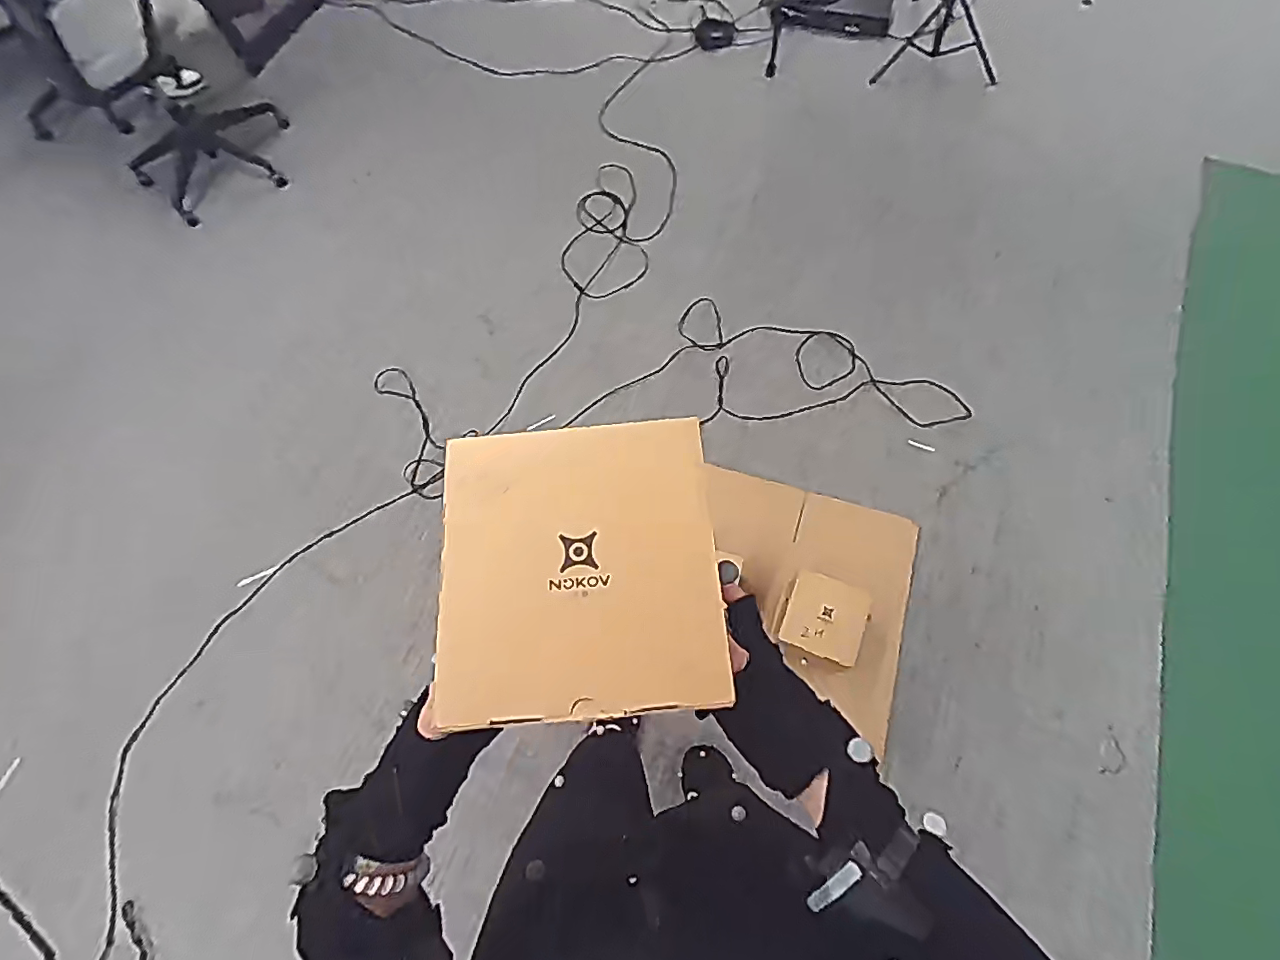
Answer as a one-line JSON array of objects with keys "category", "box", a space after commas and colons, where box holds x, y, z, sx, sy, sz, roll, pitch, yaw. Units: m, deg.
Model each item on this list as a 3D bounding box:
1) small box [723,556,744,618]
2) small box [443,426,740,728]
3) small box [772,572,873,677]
[{"category": "small box", "box": [0.148, 0.278, 1.305, 0.168, 0.176, 0.179, 14, 68, 11]}, {"category": "small box", "box": [-0.030, 0.078, 0.399, 0.168, 0.176, 0.179, -4, 69, 0]}, {"category": "small box", "box": [0.416, 0.339, 1.256, 0.168, 0.176, 0.179, 20, 71, 14]}]
